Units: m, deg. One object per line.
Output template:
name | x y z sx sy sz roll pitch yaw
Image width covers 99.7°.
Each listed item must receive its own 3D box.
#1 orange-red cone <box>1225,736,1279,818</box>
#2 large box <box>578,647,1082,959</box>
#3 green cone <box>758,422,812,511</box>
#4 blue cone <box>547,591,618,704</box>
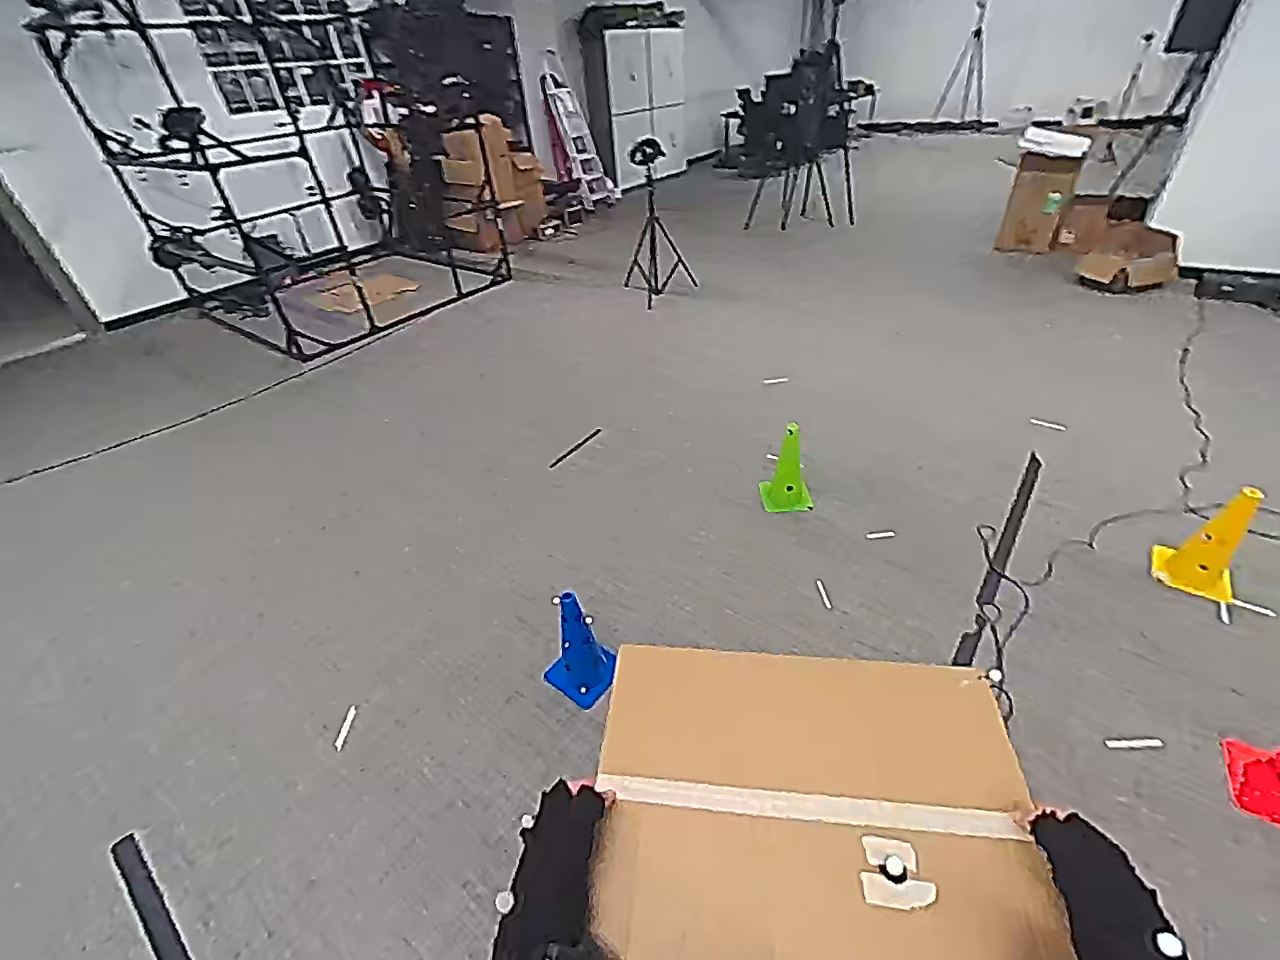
orange-red cone | 1.534 0.600 1.195 0.198 0.360 0.199 20 43 29
large box | 0.170 0.418 0.611 0.408 0.320 0.320 2 43 9
green cone | 0.597 -0.077 2.209 0.202 0.368 0.200 -5 37 4
blue cone | -0.199 0.477 1.626 0.192 0.380 0.193 23 46 35
